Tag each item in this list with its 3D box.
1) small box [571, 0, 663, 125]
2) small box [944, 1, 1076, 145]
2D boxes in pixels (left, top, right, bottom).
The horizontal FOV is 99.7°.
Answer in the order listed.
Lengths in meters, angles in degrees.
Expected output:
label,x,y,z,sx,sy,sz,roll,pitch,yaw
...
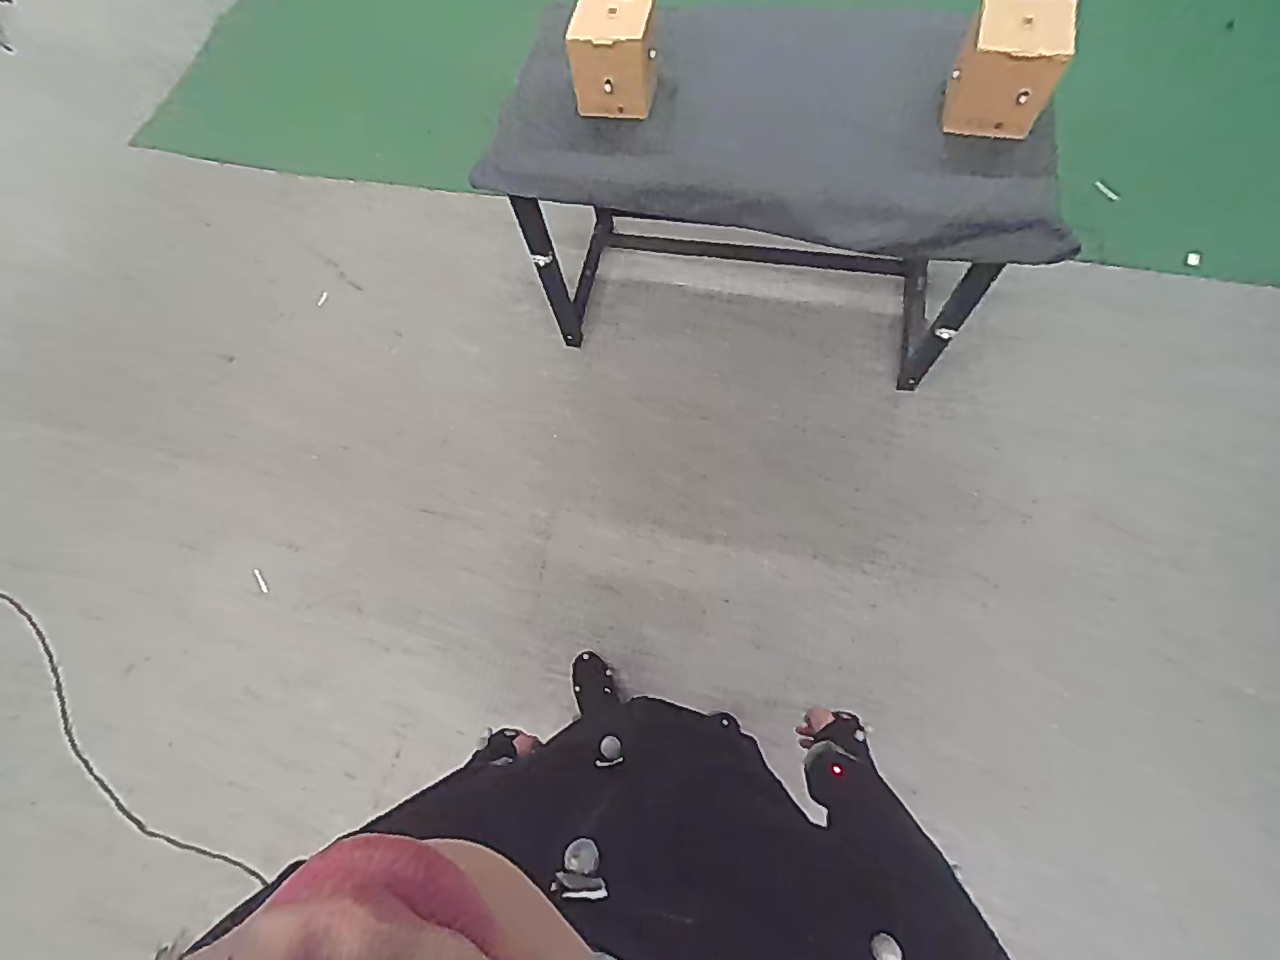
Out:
label,x,y,z,sx,sy,sz,roll,pitch,yaw
small box,-0.043,-0.948,1.234,0.168,0.176,0.179,9,71,9
small box,0.743,-0.822,1.101,0.168,0.176,0.179,13,70,10
